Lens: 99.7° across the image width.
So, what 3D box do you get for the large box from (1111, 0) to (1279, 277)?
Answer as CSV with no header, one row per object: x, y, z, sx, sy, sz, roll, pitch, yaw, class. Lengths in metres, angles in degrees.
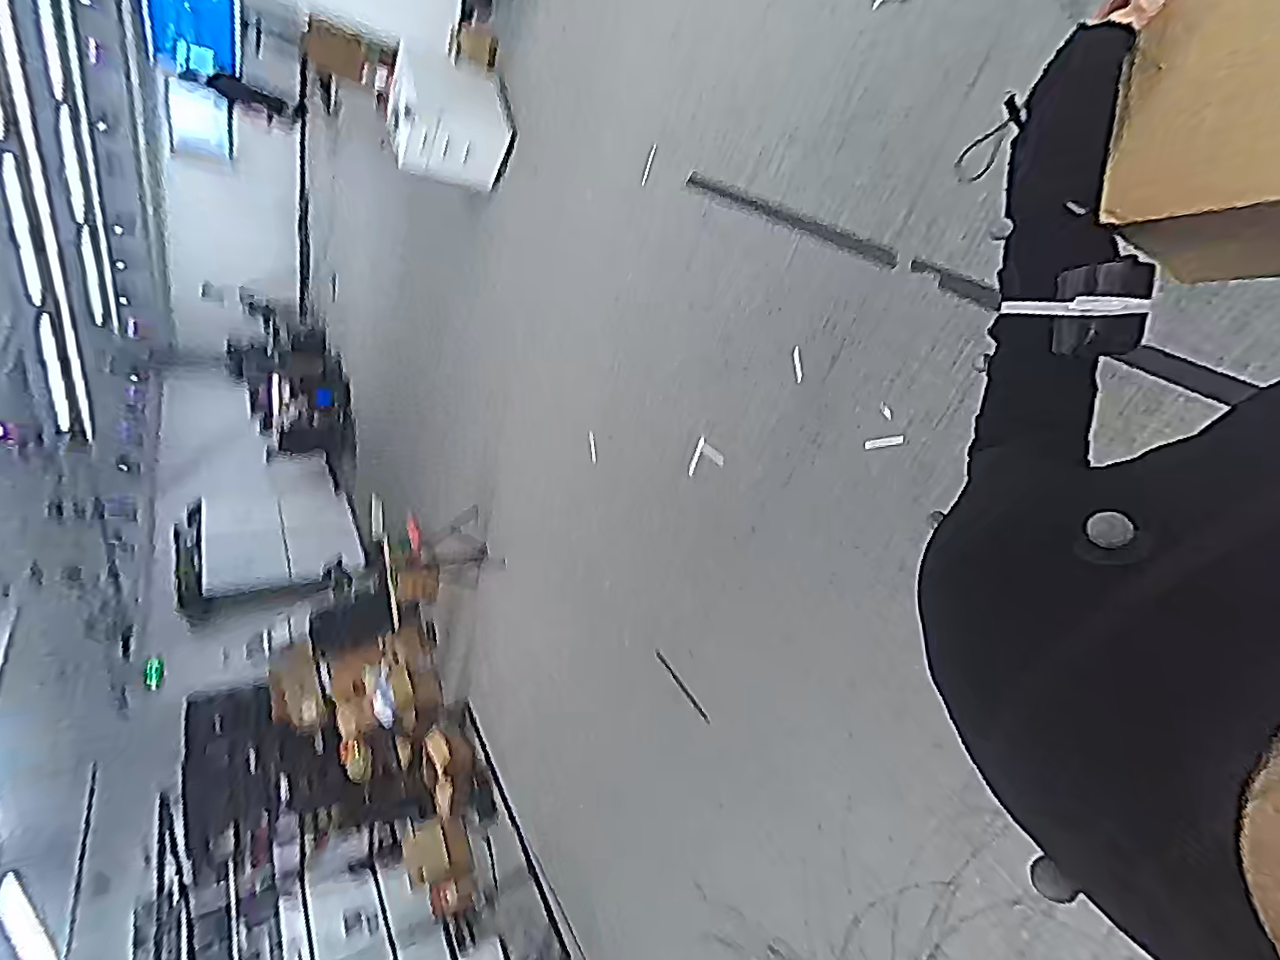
0.566,-0.312,0.288,0.408,0.320,0.320,16,108,49,large box
